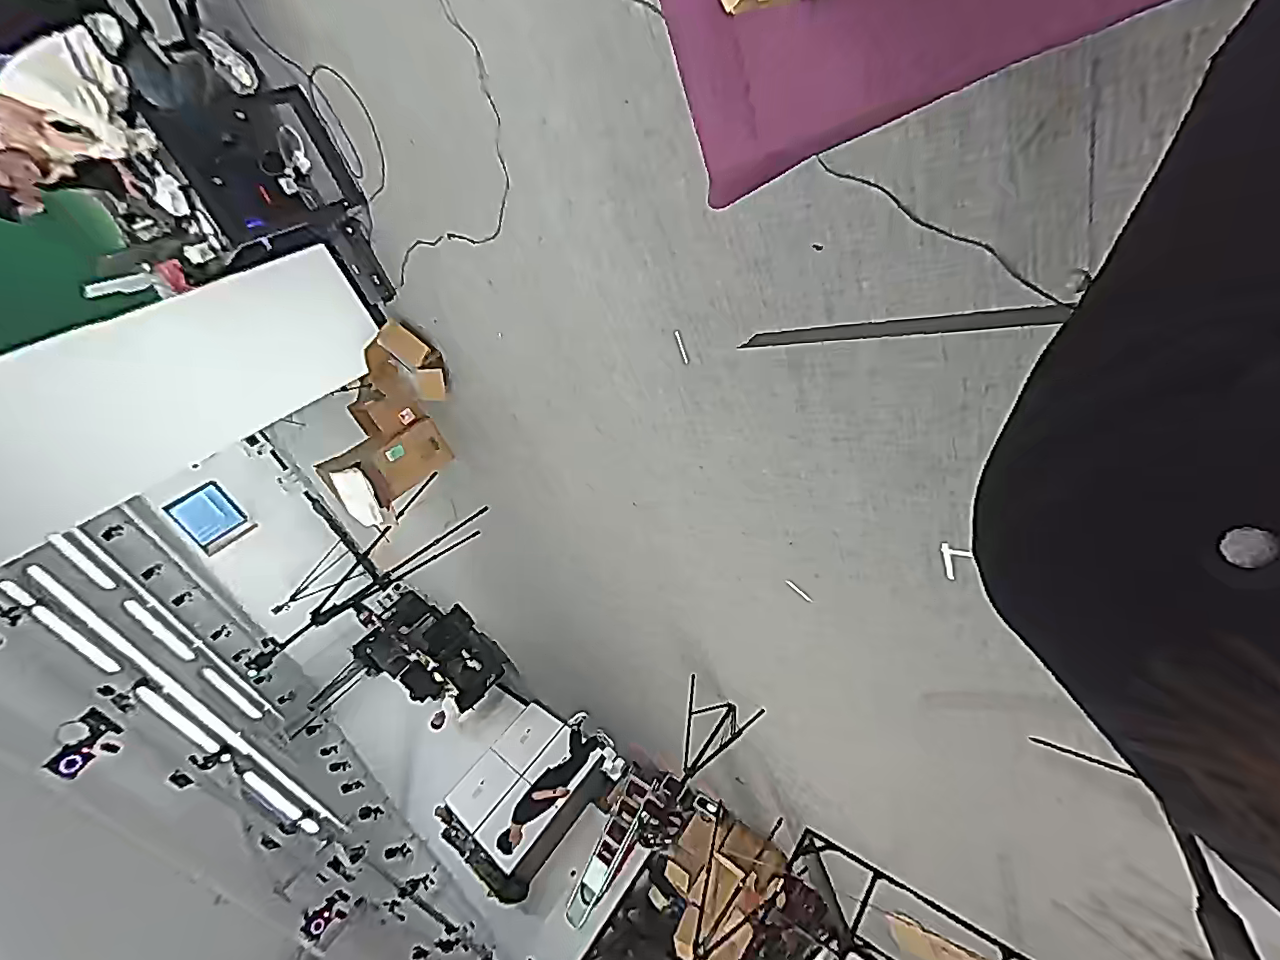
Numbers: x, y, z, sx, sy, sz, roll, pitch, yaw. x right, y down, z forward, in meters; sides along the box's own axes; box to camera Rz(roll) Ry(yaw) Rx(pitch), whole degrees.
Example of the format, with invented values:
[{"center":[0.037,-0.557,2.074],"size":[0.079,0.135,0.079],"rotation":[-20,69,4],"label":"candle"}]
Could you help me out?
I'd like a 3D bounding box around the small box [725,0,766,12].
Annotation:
[{"center":[0.156,-0.631,0.543],"size":[0.168,0.176,0.179],"rotation":[-7,119,52],"label":"small box"}]
